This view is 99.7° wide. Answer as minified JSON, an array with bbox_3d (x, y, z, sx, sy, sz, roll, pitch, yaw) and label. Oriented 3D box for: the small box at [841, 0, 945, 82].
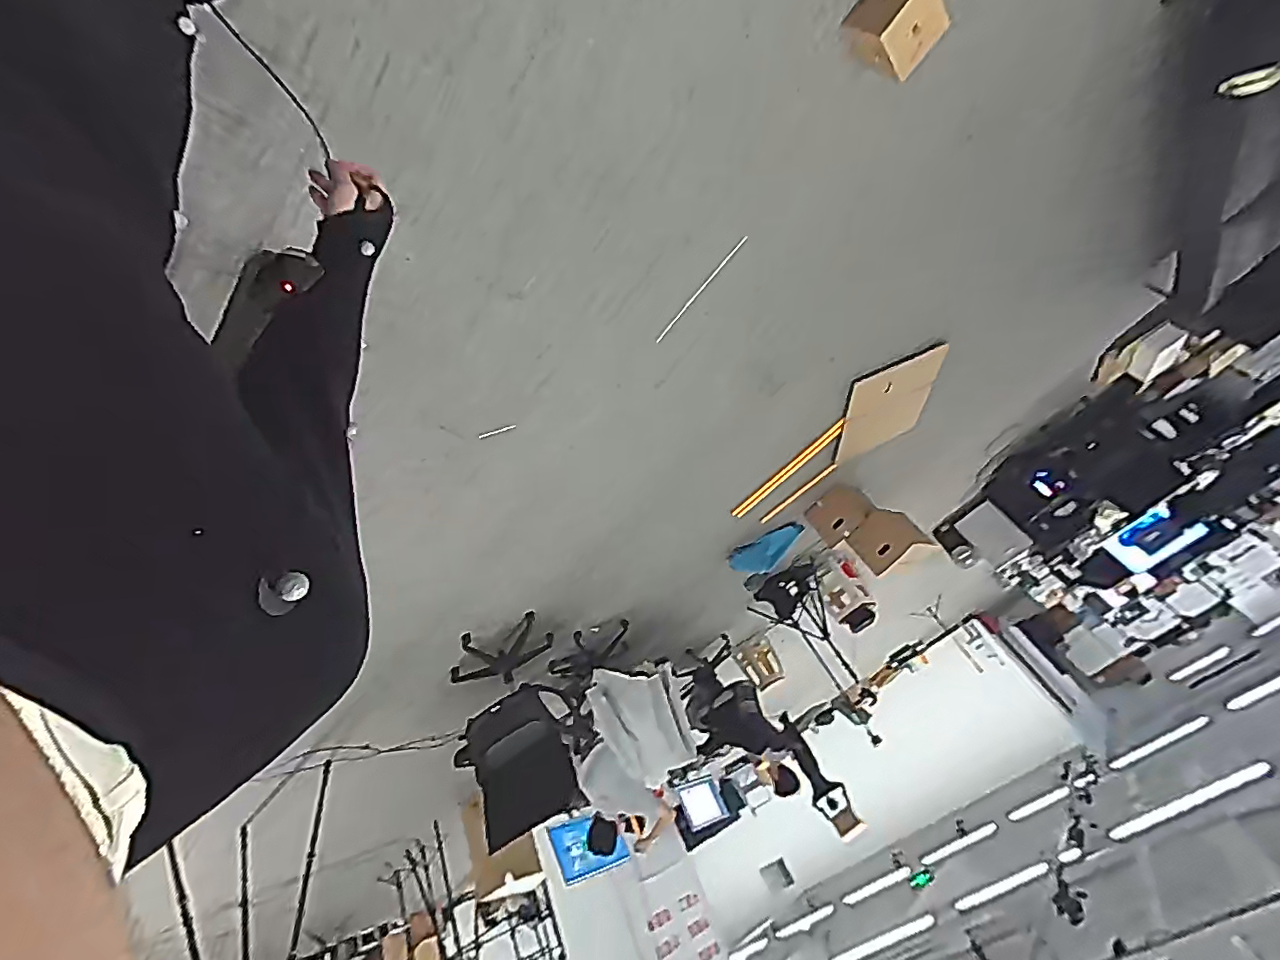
[{"bbox_3d":[0.691,-1.255,1.489,0.179,0.176,0.168,15,125,-46],"label":"small box"}]
